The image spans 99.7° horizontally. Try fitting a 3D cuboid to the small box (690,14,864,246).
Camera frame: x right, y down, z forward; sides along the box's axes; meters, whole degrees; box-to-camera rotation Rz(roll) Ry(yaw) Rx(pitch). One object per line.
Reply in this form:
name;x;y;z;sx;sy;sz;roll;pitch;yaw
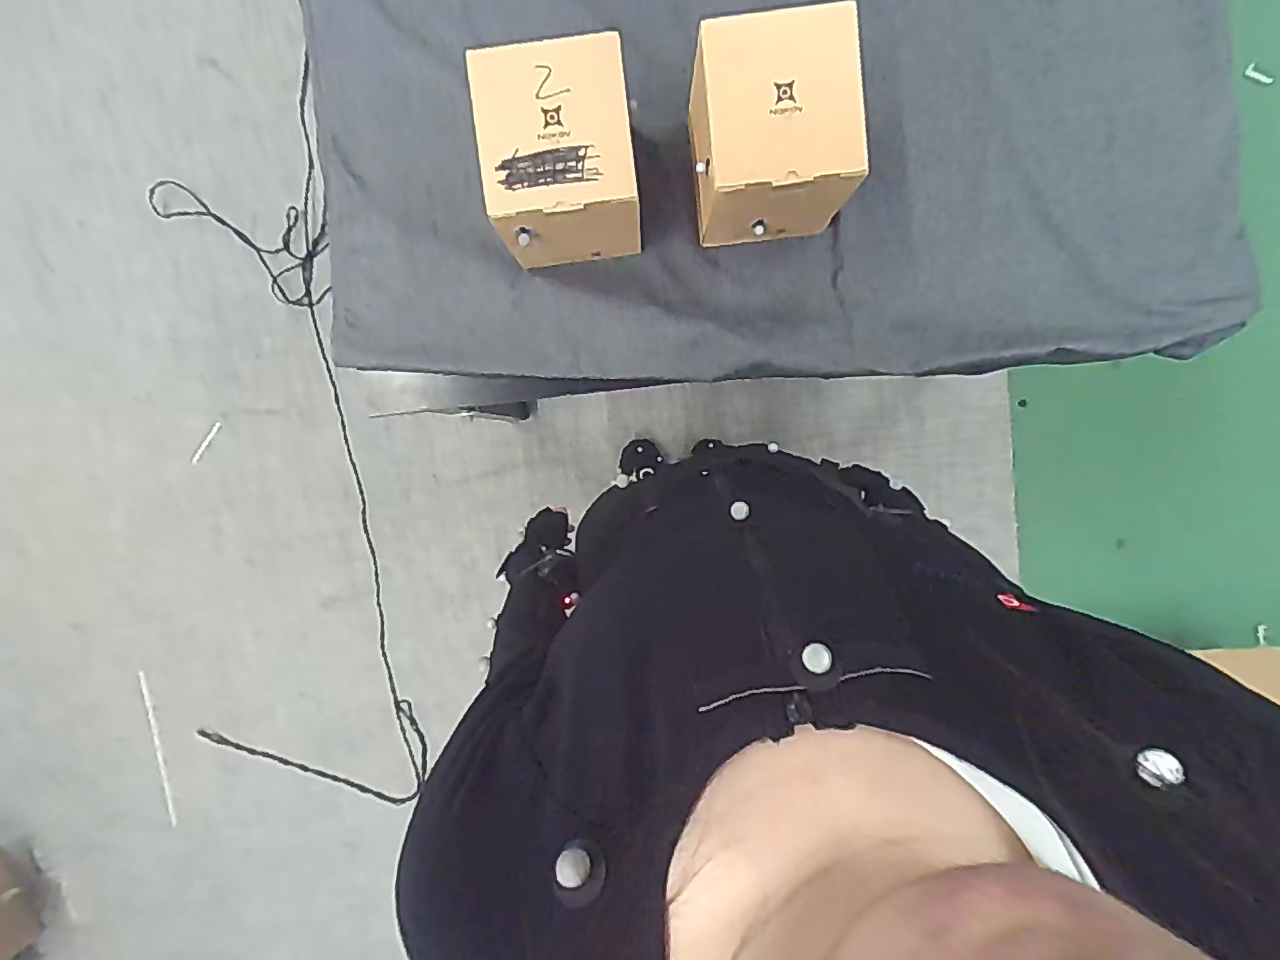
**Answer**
small box;0.156;-0.413;0.665;0.168;0.176;0.179;-6;95;1
